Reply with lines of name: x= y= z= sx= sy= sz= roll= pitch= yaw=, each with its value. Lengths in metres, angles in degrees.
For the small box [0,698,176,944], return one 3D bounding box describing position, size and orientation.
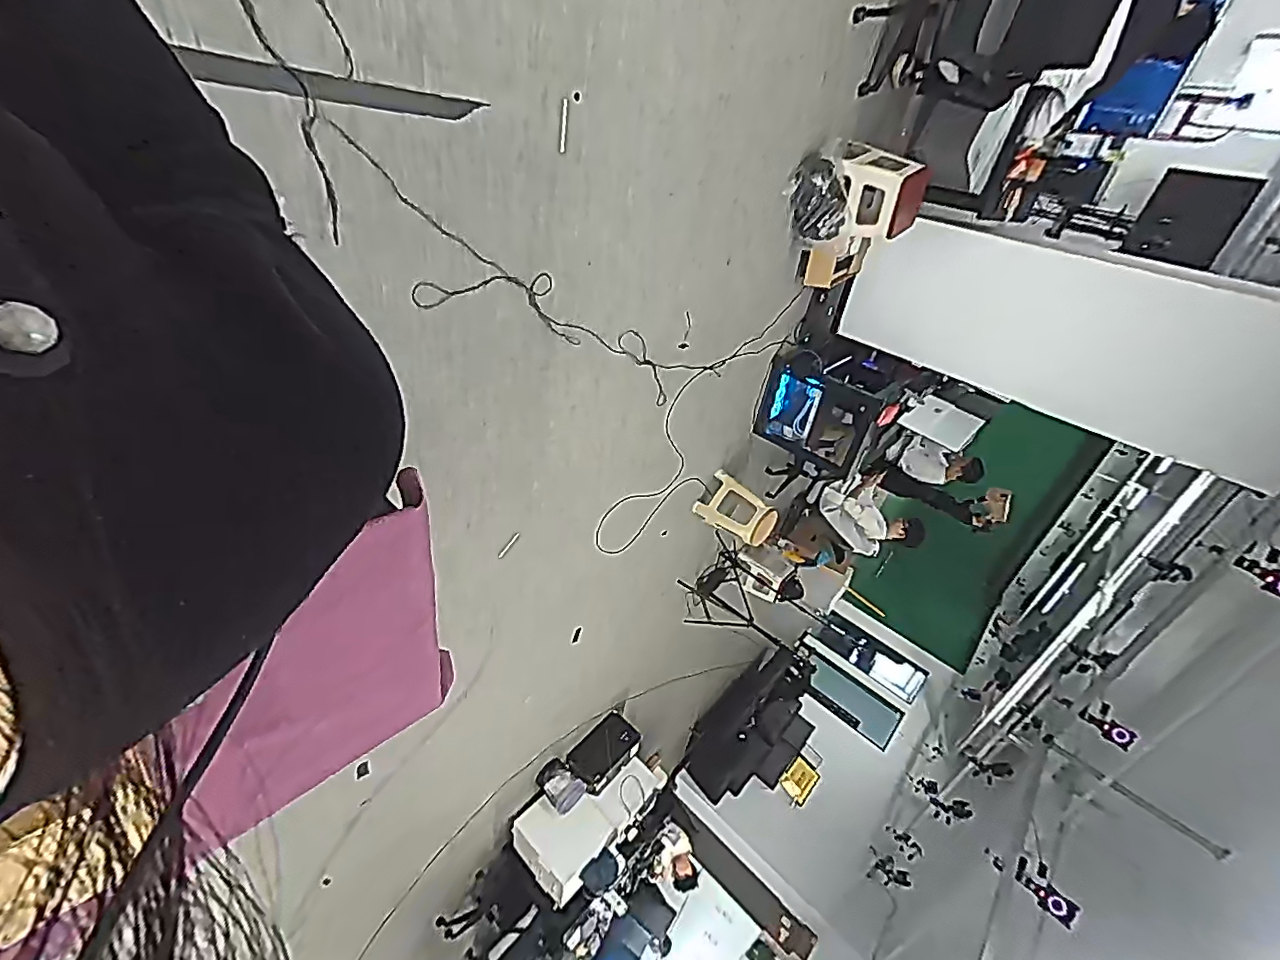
small box: x=-0.743 y=0.424 z=0.696 sx=0.168 sy=0.176 sz=0.179 roll=-25 pitch=138 yaw=-44
